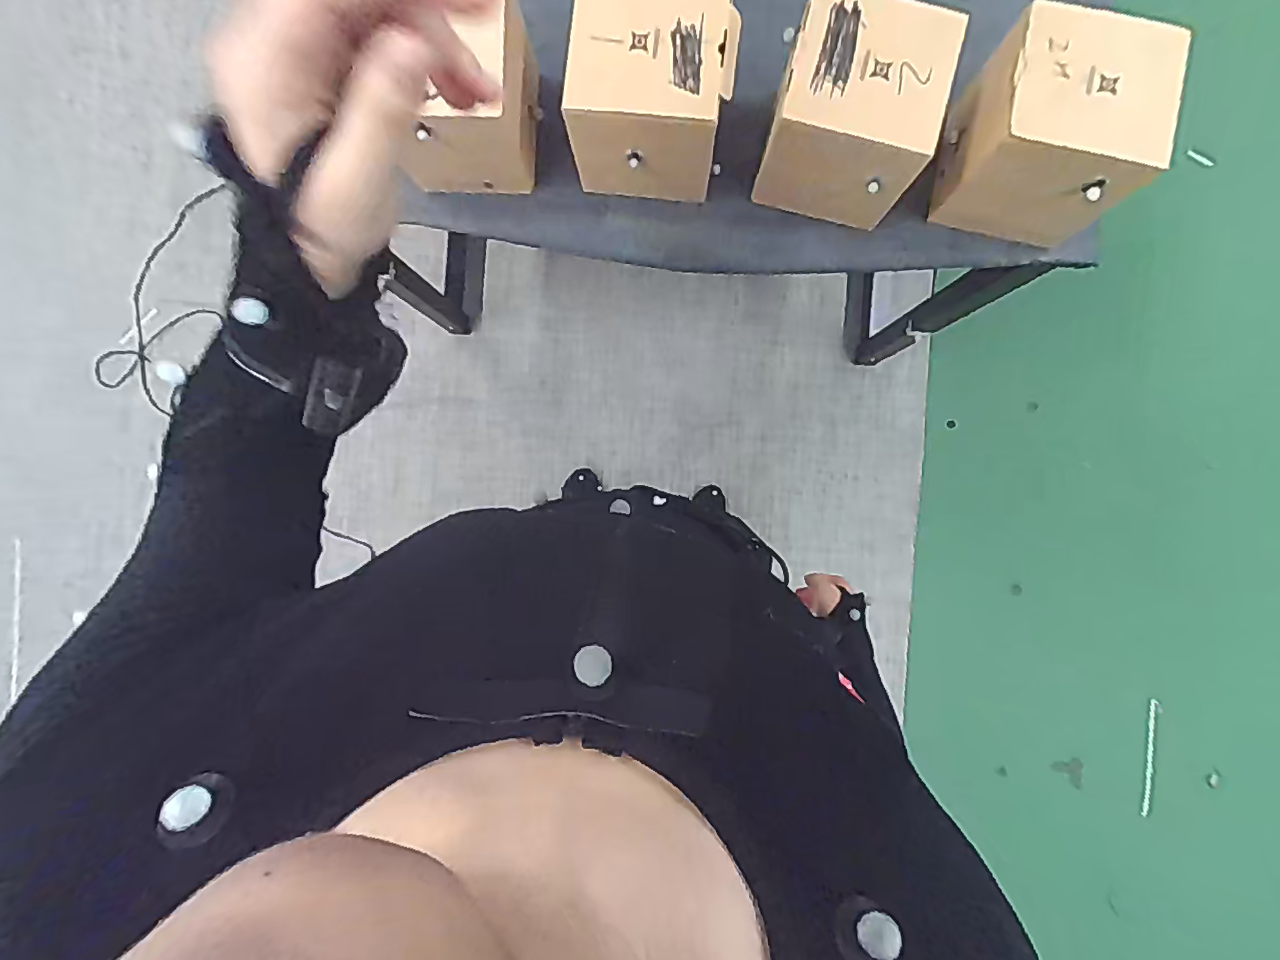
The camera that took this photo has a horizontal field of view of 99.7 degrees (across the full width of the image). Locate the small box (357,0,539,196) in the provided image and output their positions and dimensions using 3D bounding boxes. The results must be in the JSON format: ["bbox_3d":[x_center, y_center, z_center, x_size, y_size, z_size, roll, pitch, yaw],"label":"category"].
[{"bbox_3d":[-0.228,-0.492,0.684,0.168,0.176,0.179,3,90,3],"label":"small box"}]
